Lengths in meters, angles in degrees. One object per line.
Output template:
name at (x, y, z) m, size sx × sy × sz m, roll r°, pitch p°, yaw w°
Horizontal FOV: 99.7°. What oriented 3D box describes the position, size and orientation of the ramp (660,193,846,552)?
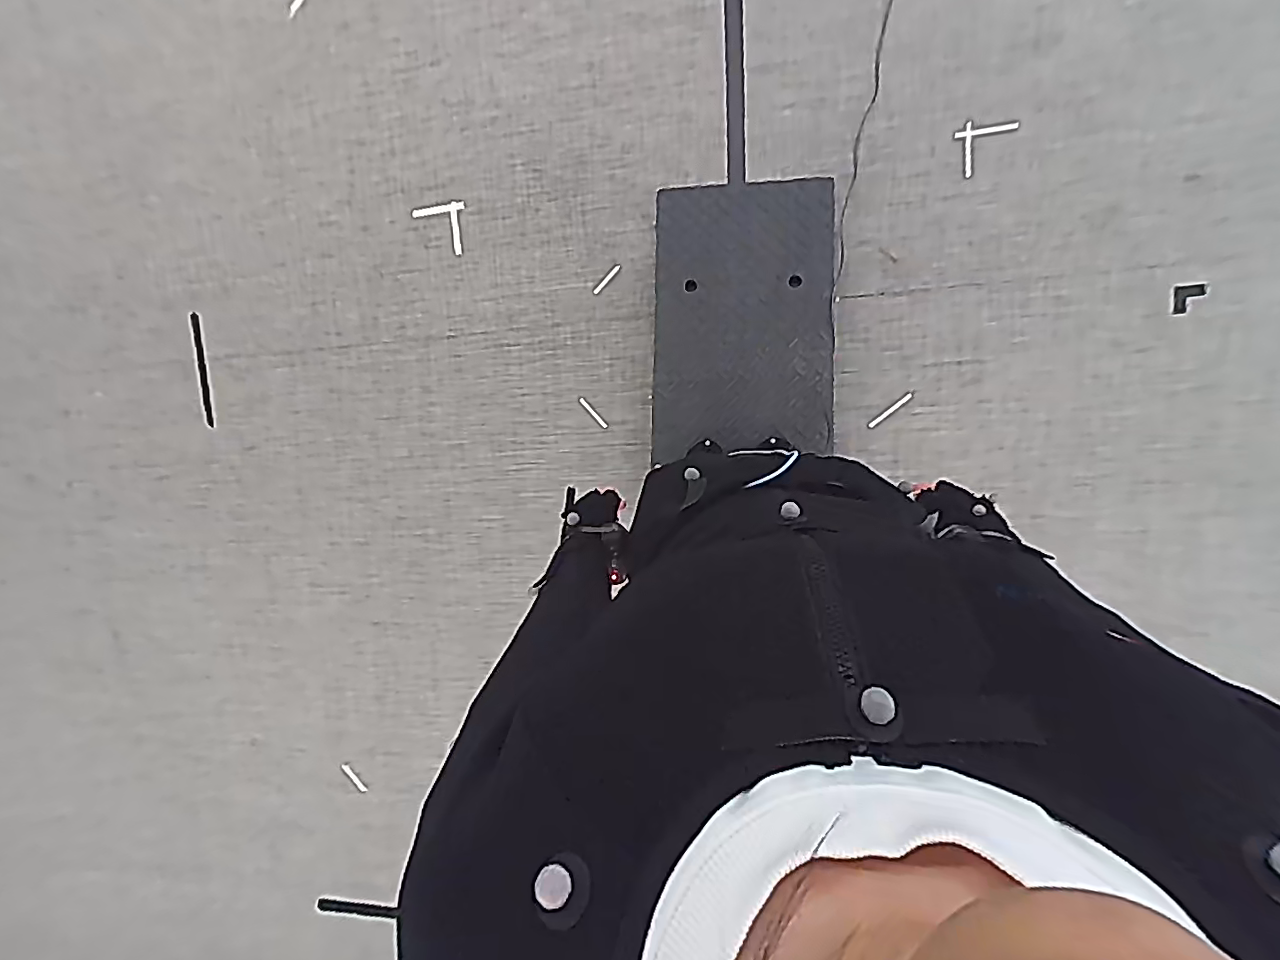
ramp at (0.297, -0.302, 1.503) m, size 0.509 × 0.206 × 0.991 m, roll -2°, pitch 94°, yaw 11°
